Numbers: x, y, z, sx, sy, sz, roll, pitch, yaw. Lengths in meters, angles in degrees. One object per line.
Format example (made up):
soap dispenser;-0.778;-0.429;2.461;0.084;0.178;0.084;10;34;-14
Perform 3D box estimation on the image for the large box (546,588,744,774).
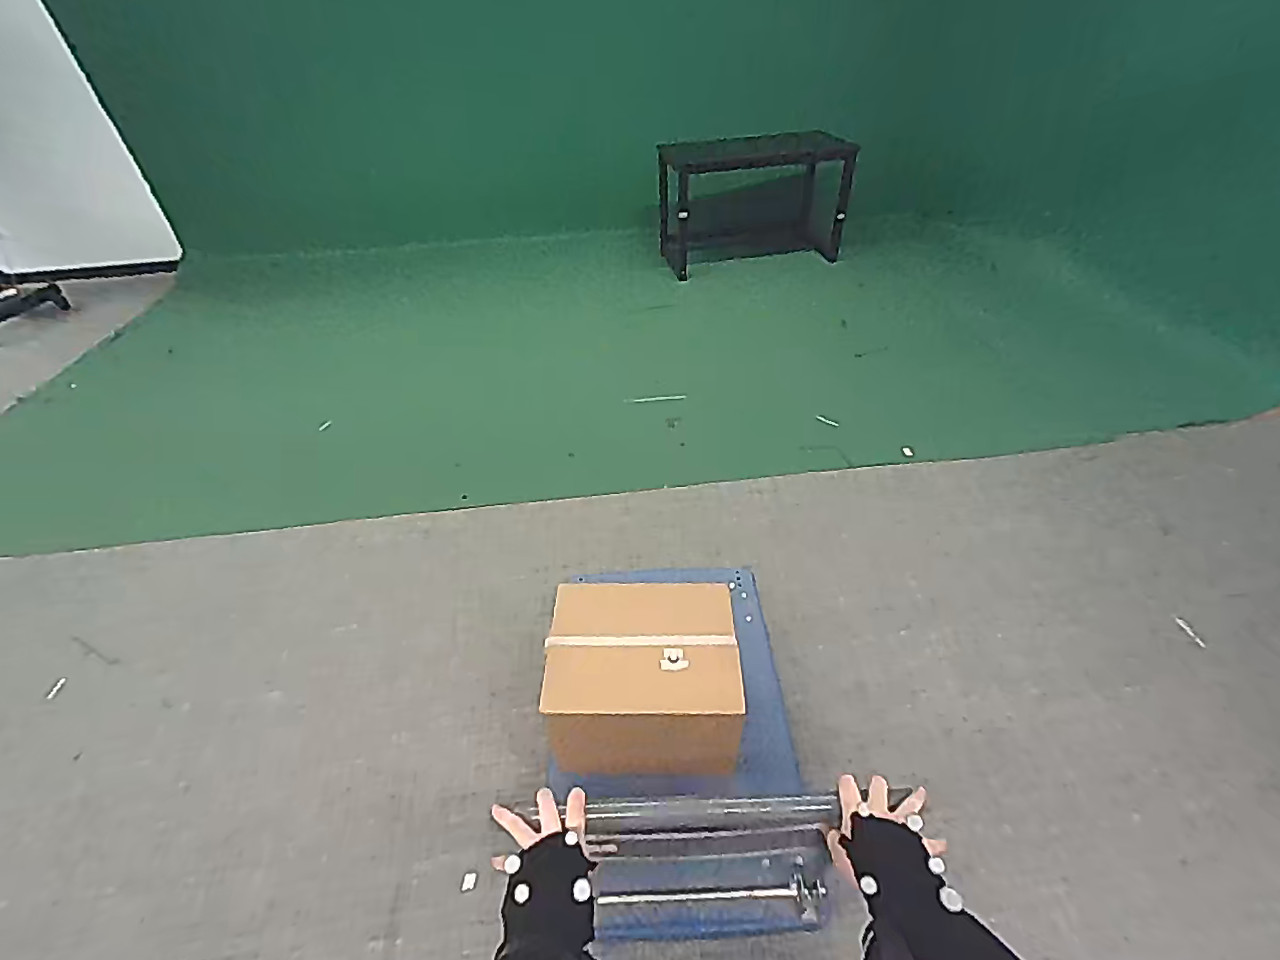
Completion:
large box;0.011;0.472;1.278;0.408;0.320;0.320;0;41;1
